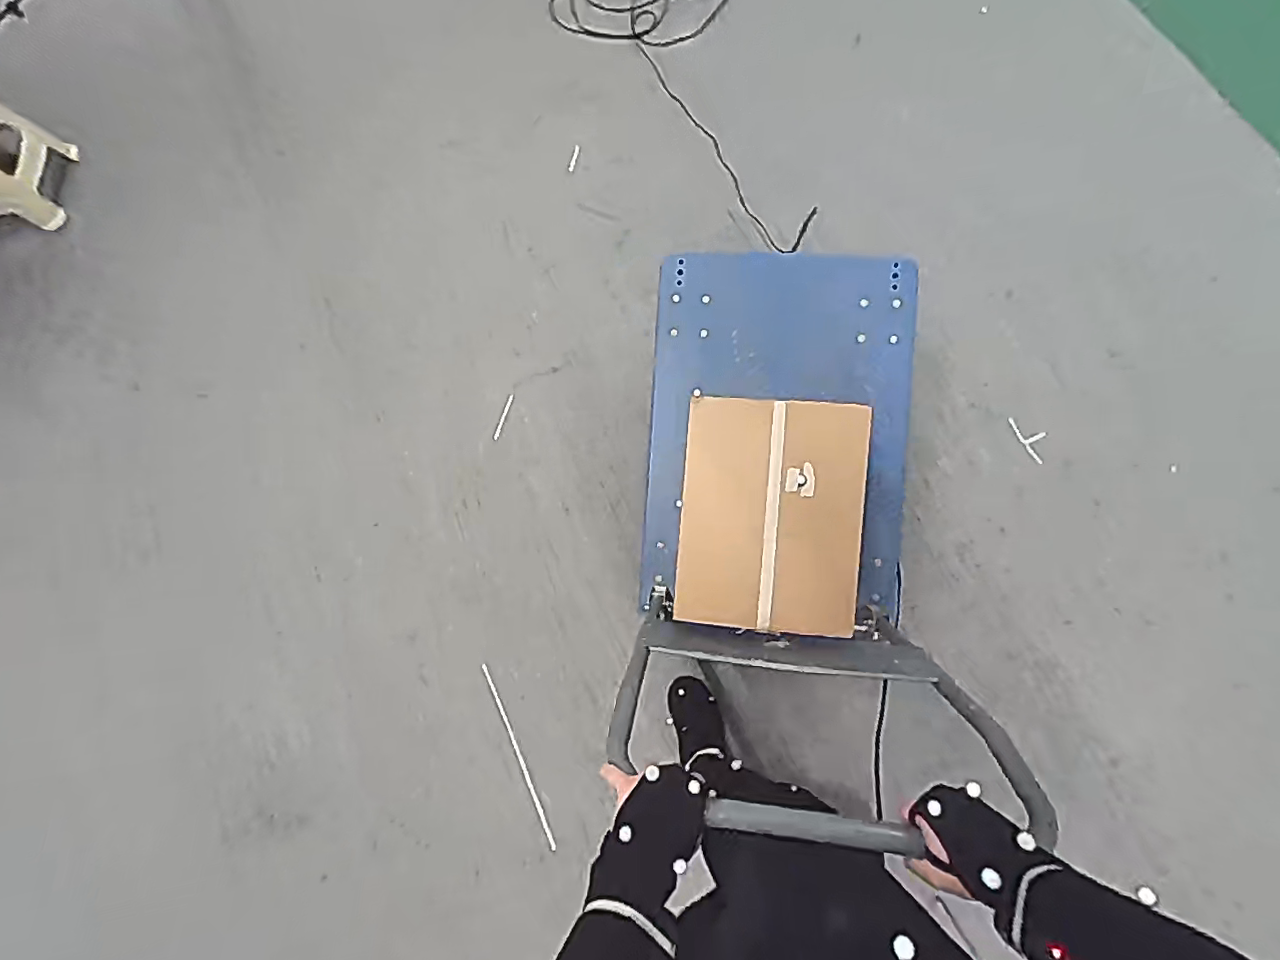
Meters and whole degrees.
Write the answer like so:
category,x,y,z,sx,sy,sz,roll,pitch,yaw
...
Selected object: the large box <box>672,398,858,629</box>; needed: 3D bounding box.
category,x,y,z,sx,sy,sz,roll,pitch,yaw
large box,0.243,0.061,1.119,0.320,0.320,0.408,4,89,7
